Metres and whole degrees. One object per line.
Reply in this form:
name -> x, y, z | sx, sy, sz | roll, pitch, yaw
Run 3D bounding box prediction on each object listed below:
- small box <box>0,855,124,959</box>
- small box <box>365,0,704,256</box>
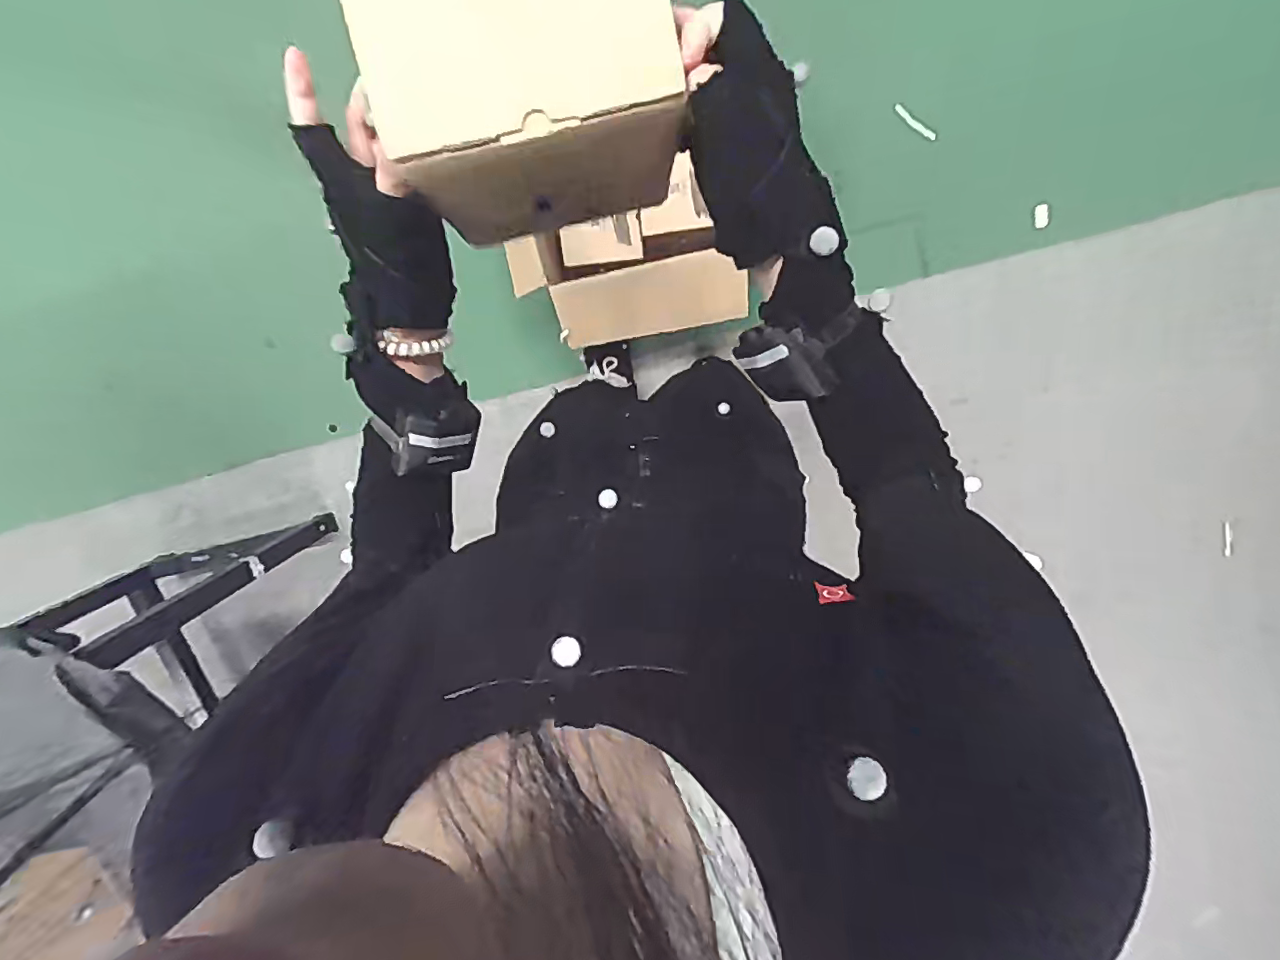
small box -> -1.035, 0.764, 0.894 | 0.179, 0.176, 0.168 | -12, 105, 5
small box -> -0.068, -0.276, 0.360 | 0.168, 0.176, 0.179 | -15, 98, -1
